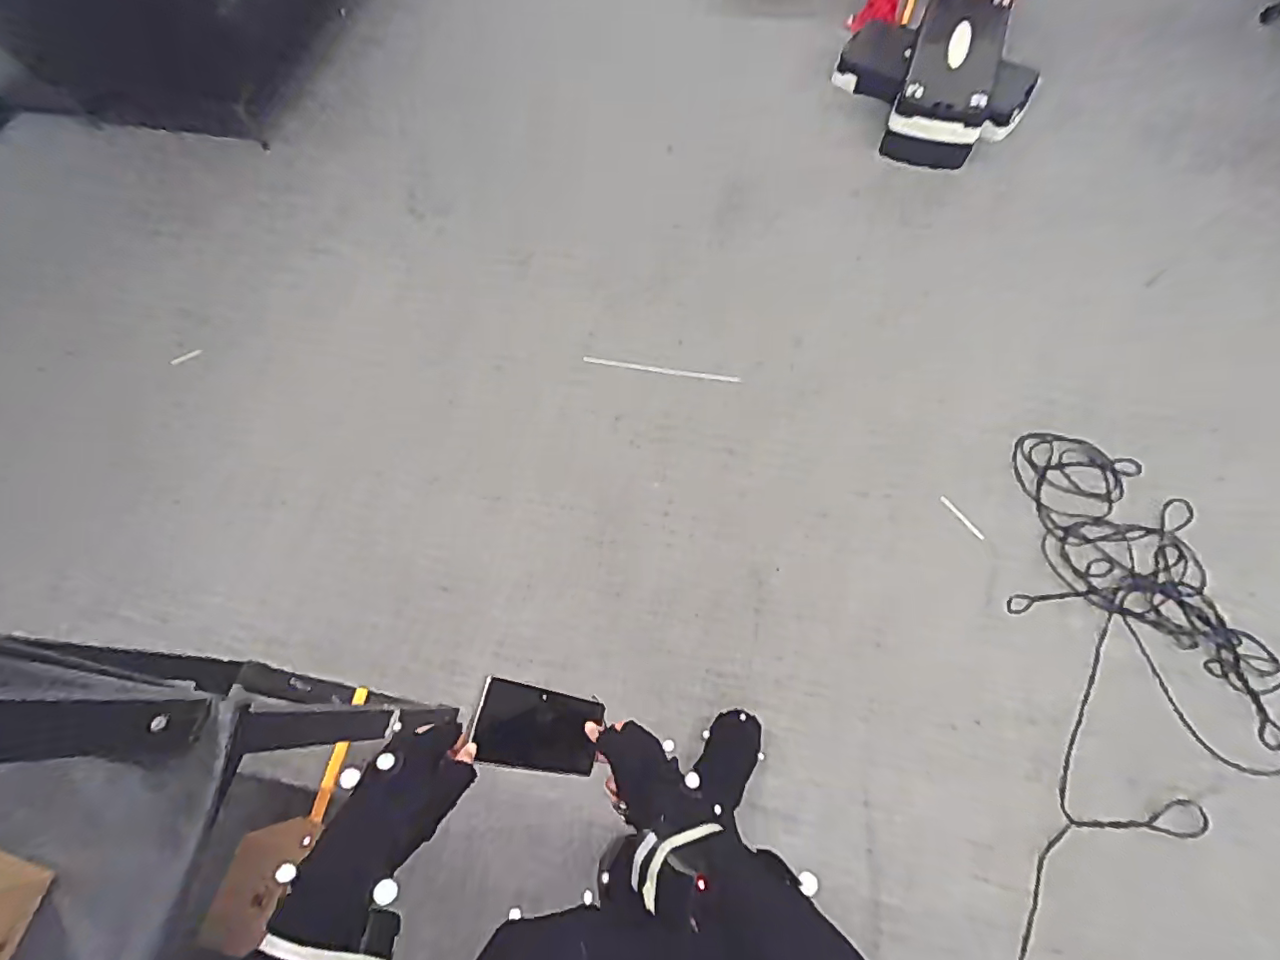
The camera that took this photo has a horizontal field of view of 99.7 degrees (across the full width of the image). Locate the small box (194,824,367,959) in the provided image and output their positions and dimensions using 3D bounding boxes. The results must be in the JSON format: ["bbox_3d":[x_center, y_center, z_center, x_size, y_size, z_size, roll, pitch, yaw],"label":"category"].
[{"bbox_3d":[-0.656,0.772,1.015,0.179,0.176,0.168,13,68,9],"label":"small box"}]
